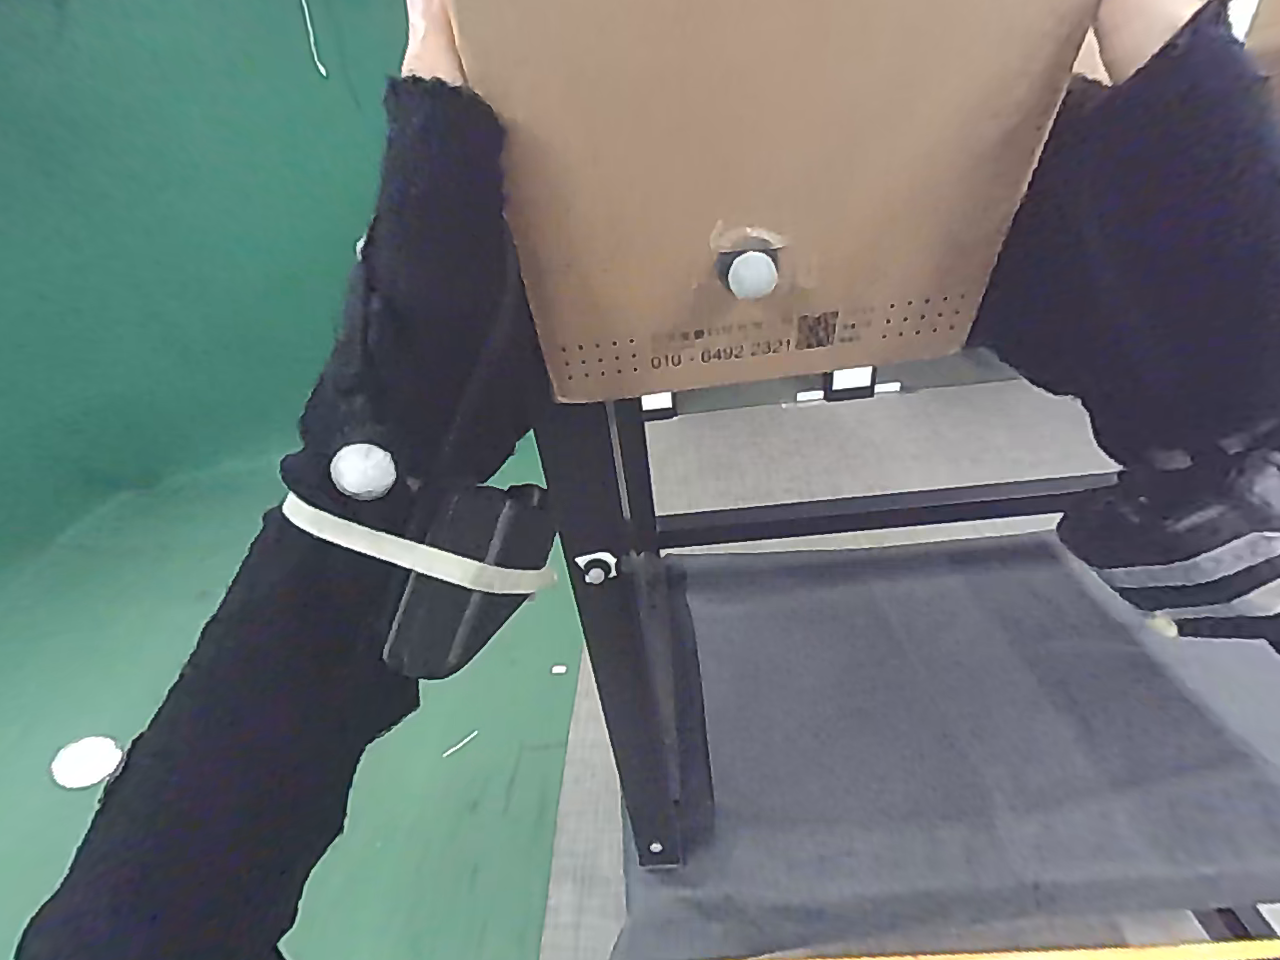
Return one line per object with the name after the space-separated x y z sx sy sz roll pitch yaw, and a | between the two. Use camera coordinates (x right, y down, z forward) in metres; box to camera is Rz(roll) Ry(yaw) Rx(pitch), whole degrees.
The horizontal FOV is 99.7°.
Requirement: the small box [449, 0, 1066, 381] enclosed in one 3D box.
0.028 -0.163 0.217 0.168 0.176 0.179 -7 47 2 | small box
